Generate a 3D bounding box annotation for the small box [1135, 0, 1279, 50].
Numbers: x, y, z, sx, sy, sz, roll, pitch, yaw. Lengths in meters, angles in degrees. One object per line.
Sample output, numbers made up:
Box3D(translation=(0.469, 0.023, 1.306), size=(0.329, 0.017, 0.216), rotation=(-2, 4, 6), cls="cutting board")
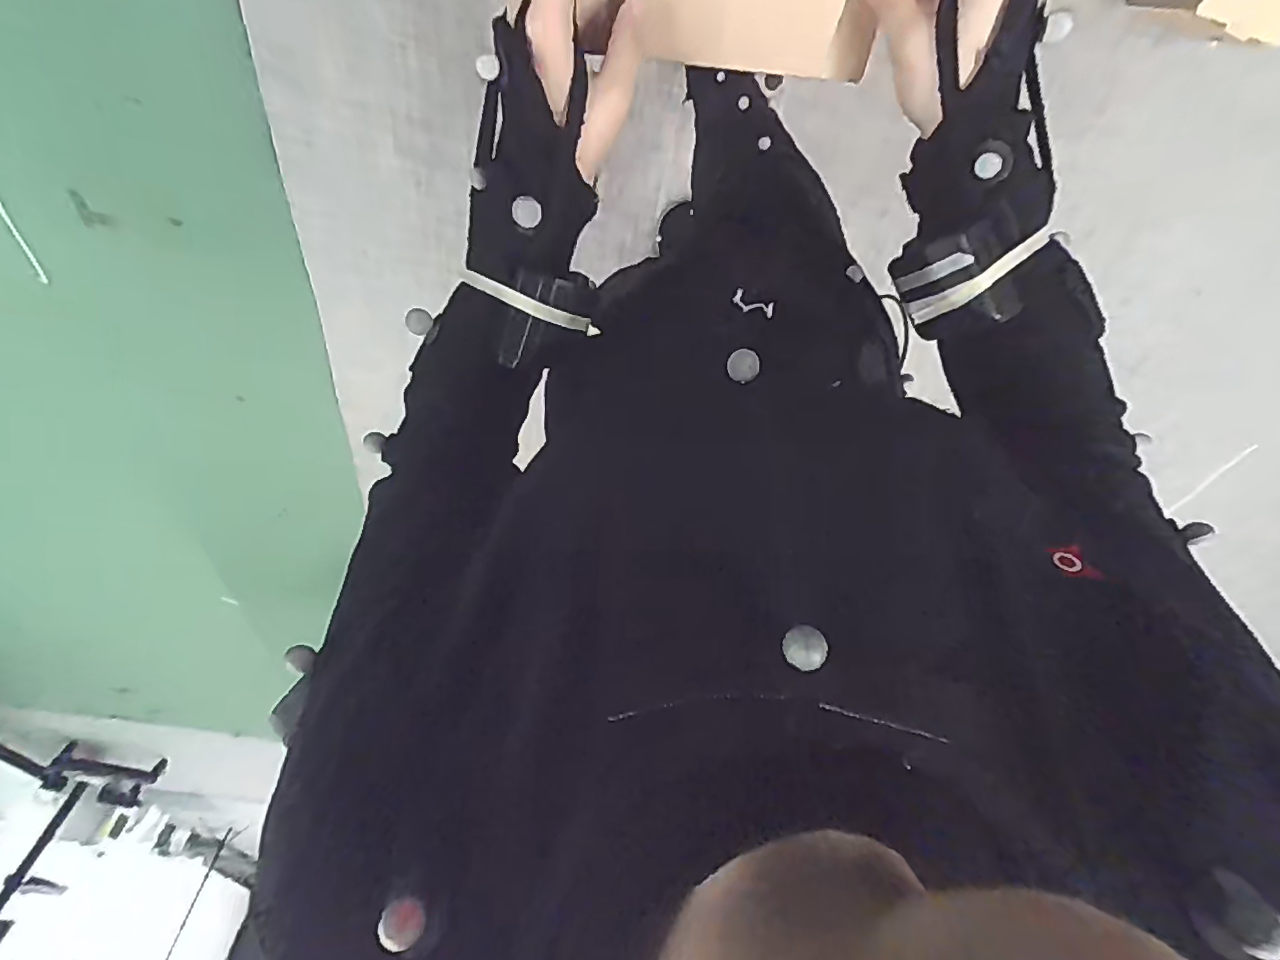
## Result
Box3D(translation=(0.879, -0.763, 0.780), size=(0.168, 0.176, 0.179), rotation=(12, 133, -10), cls="small box")
